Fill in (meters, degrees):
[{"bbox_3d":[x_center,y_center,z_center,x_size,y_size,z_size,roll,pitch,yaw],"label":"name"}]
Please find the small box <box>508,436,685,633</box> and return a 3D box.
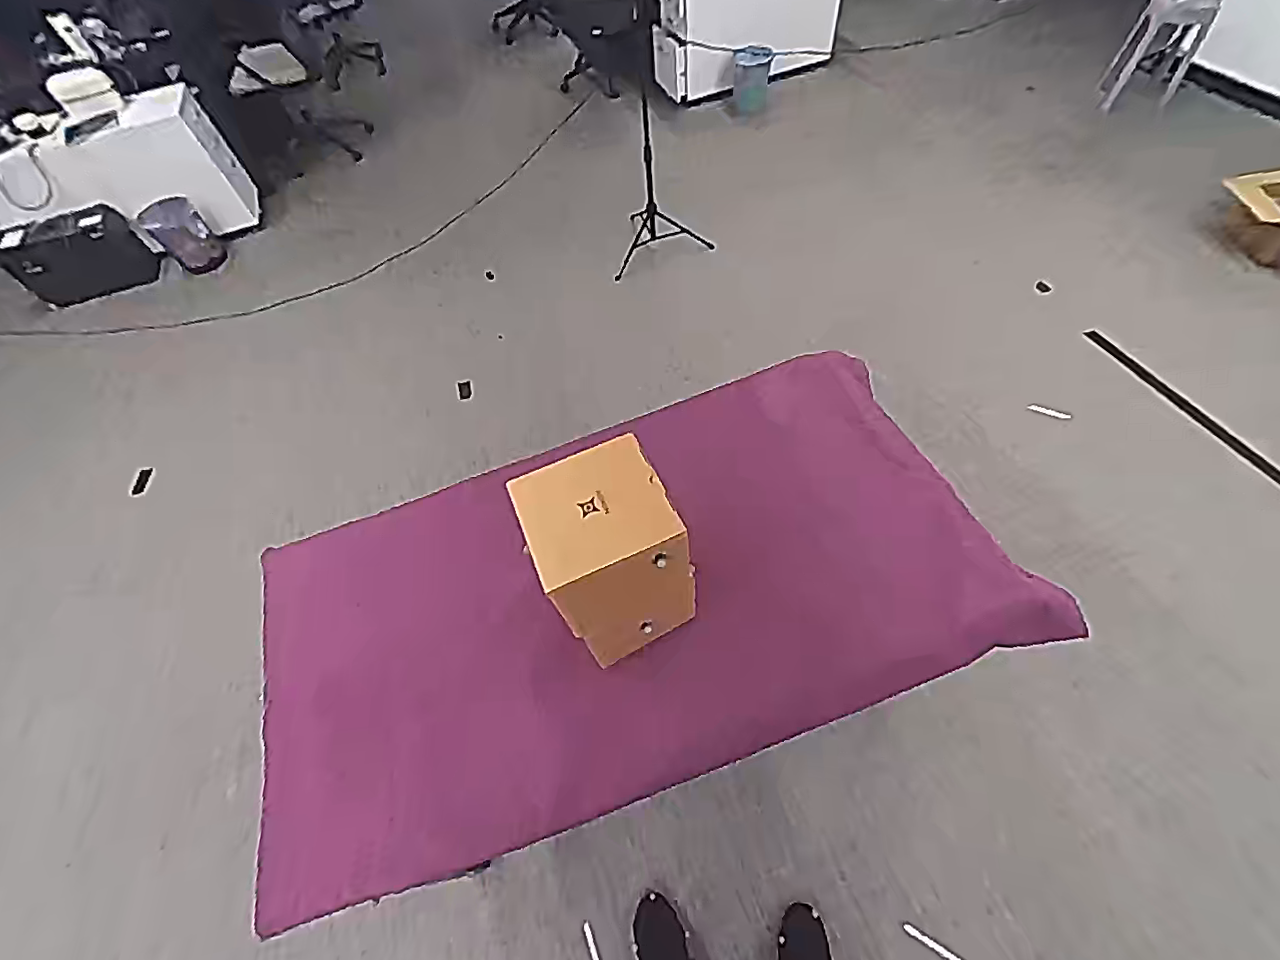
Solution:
[{"bbox_3d":[-0.049,0.078,0.716,0.179,0.176,0.168,-23,57,-9],"label":"small box"}]
